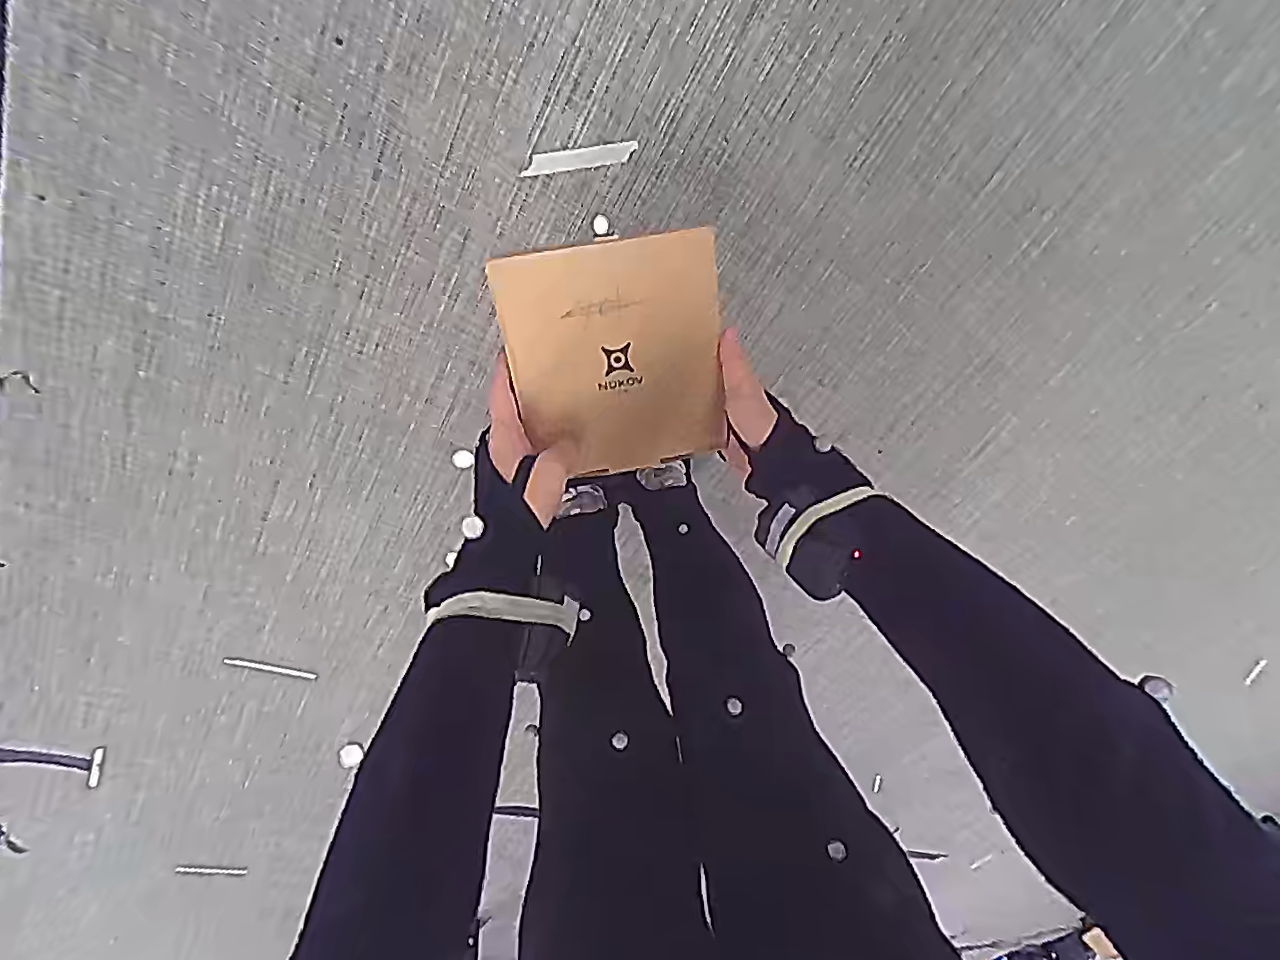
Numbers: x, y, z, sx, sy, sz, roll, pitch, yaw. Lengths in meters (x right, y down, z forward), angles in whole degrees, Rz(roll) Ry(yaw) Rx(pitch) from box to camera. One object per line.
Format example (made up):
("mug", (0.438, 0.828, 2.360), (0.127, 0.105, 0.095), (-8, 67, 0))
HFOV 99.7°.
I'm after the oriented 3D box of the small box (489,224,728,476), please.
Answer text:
("small box", (-0.026, -0.126, 0.489), (0.168, 0.176, 0.179), (-11, 115, -4))
